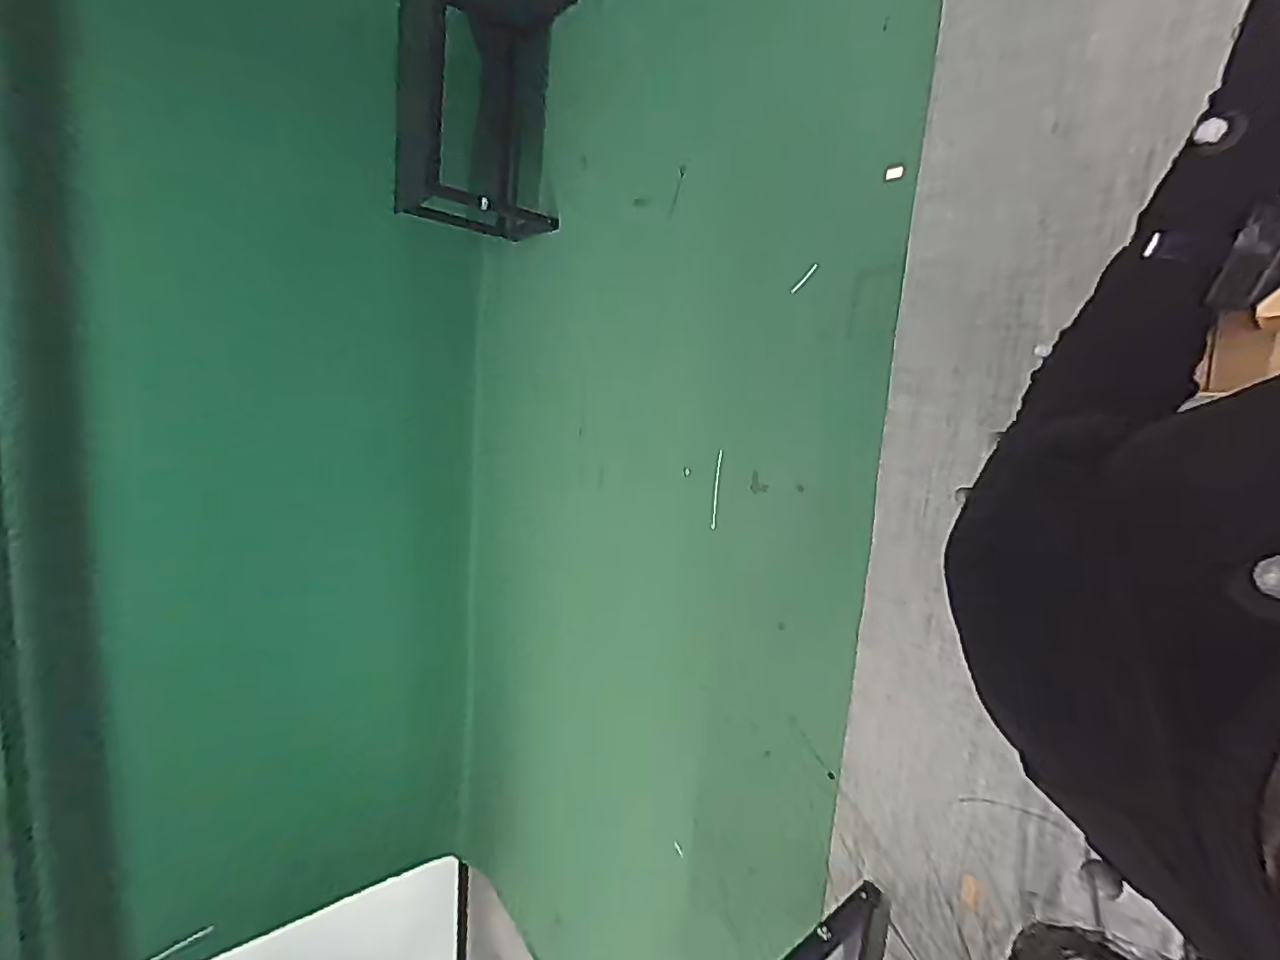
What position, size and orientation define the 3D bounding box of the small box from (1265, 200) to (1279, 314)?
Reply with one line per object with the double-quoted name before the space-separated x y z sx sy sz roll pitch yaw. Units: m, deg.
"small box" 1.137 -0.368 0.859 0.179 0.176 0.168 4 97 50
